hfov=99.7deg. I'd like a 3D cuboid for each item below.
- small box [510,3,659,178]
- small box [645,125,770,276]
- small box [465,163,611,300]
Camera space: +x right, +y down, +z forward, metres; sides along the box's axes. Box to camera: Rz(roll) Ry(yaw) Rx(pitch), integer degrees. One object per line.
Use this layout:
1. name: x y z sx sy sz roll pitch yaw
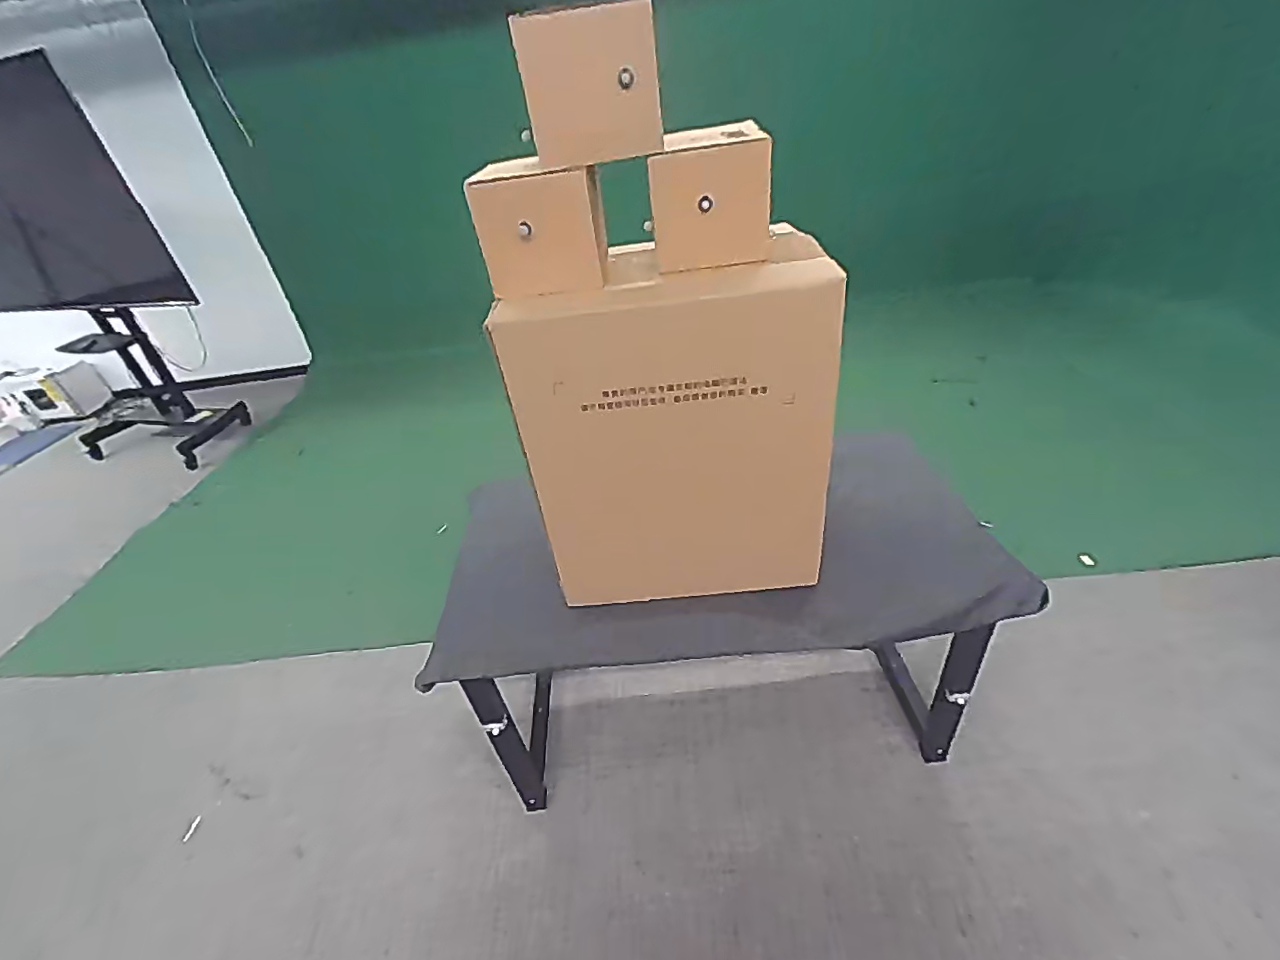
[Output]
1. small box: -0.073 -0.541 0.761 0.179 0.176 0.168 -13 37 -3
2. small box: 0.105 -0.443 0.861 0.179 0.176 0.168 -6 39 6
3. small box: -0.150 -0.399 0.864 0.179 0.176 0.168 -5 39 5
